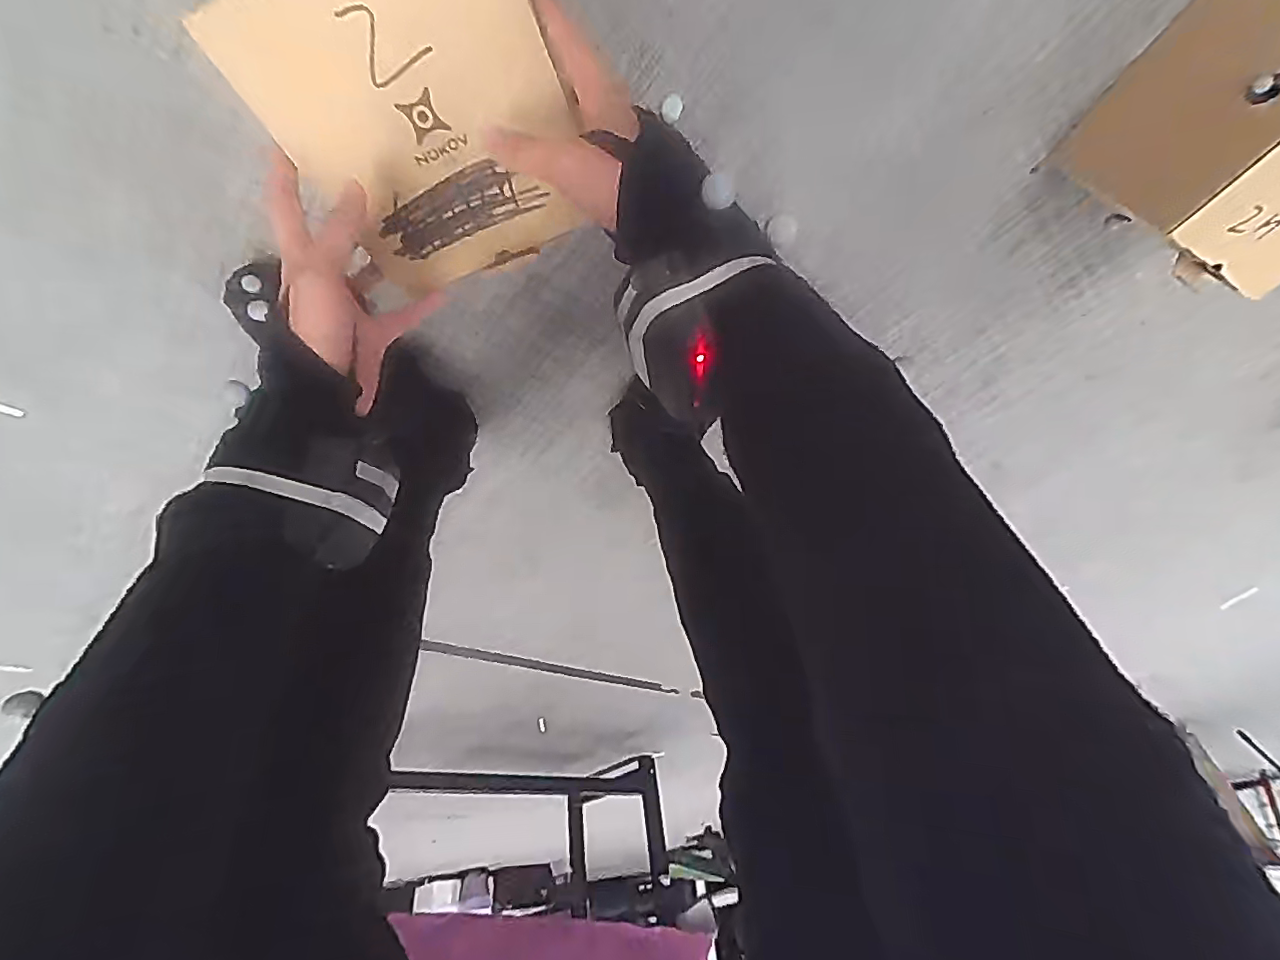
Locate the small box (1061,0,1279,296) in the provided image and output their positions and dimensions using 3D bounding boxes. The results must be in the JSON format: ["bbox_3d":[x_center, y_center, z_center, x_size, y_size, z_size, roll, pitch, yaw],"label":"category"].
[{"bbox_3d":[0.528,-0.301,0.463,0.168,0.176,0.179,13,136,-25],"label":"small box"}]
